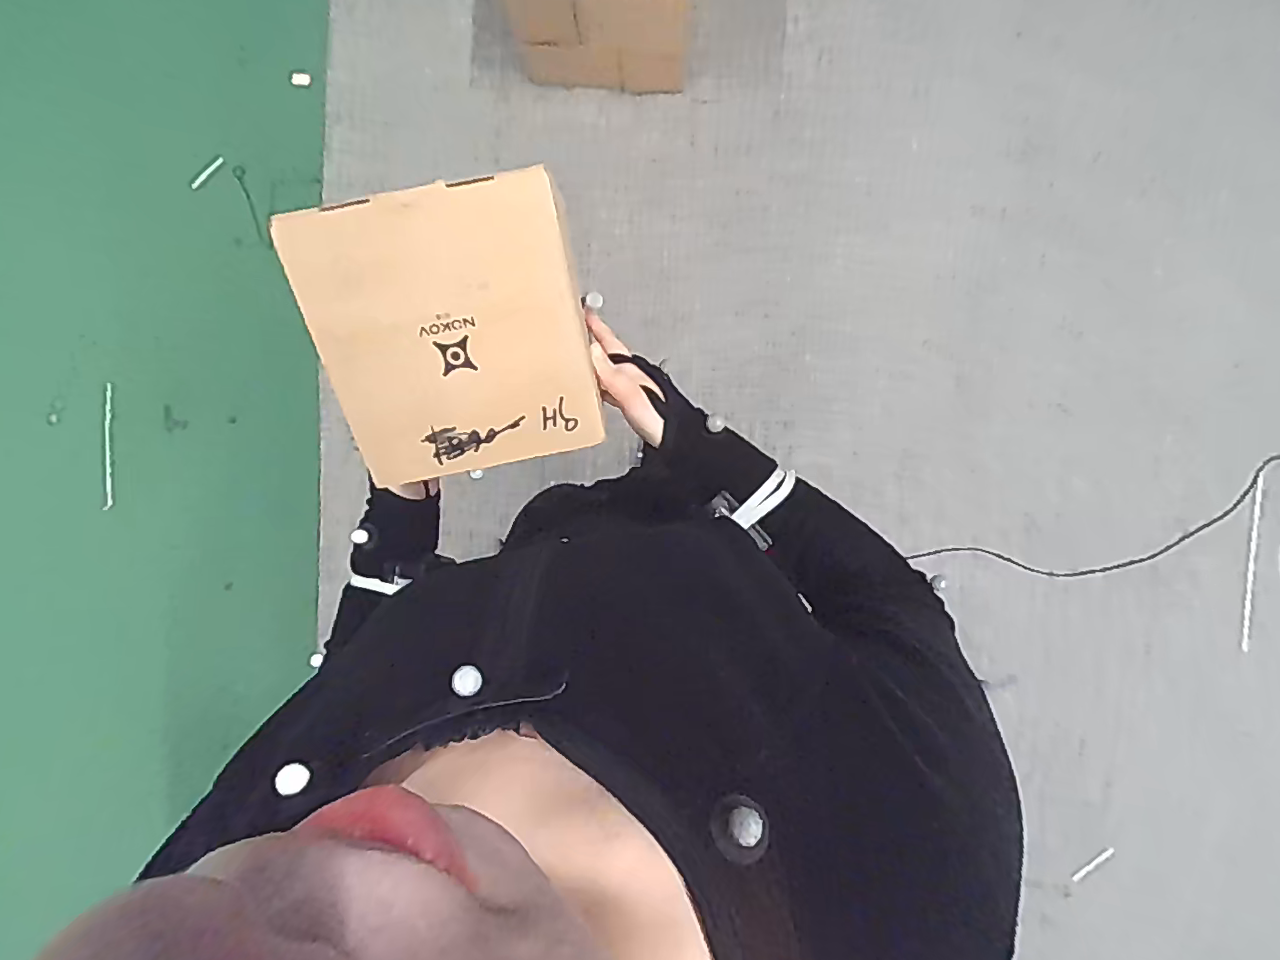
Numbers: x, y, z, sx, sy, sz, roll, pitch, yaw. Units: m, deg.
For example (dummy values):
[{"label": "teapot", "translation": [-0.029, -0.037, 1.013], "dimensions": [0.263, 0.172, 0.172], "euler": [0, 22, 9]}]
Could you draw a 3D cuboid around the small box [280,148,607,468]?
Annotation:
[{"label": "small box", "translation": [-0.123, -0.128, 0.417], "dimensions": [0.168, 0.176, 0.179], "euler": [-10, 112, -1]}]
